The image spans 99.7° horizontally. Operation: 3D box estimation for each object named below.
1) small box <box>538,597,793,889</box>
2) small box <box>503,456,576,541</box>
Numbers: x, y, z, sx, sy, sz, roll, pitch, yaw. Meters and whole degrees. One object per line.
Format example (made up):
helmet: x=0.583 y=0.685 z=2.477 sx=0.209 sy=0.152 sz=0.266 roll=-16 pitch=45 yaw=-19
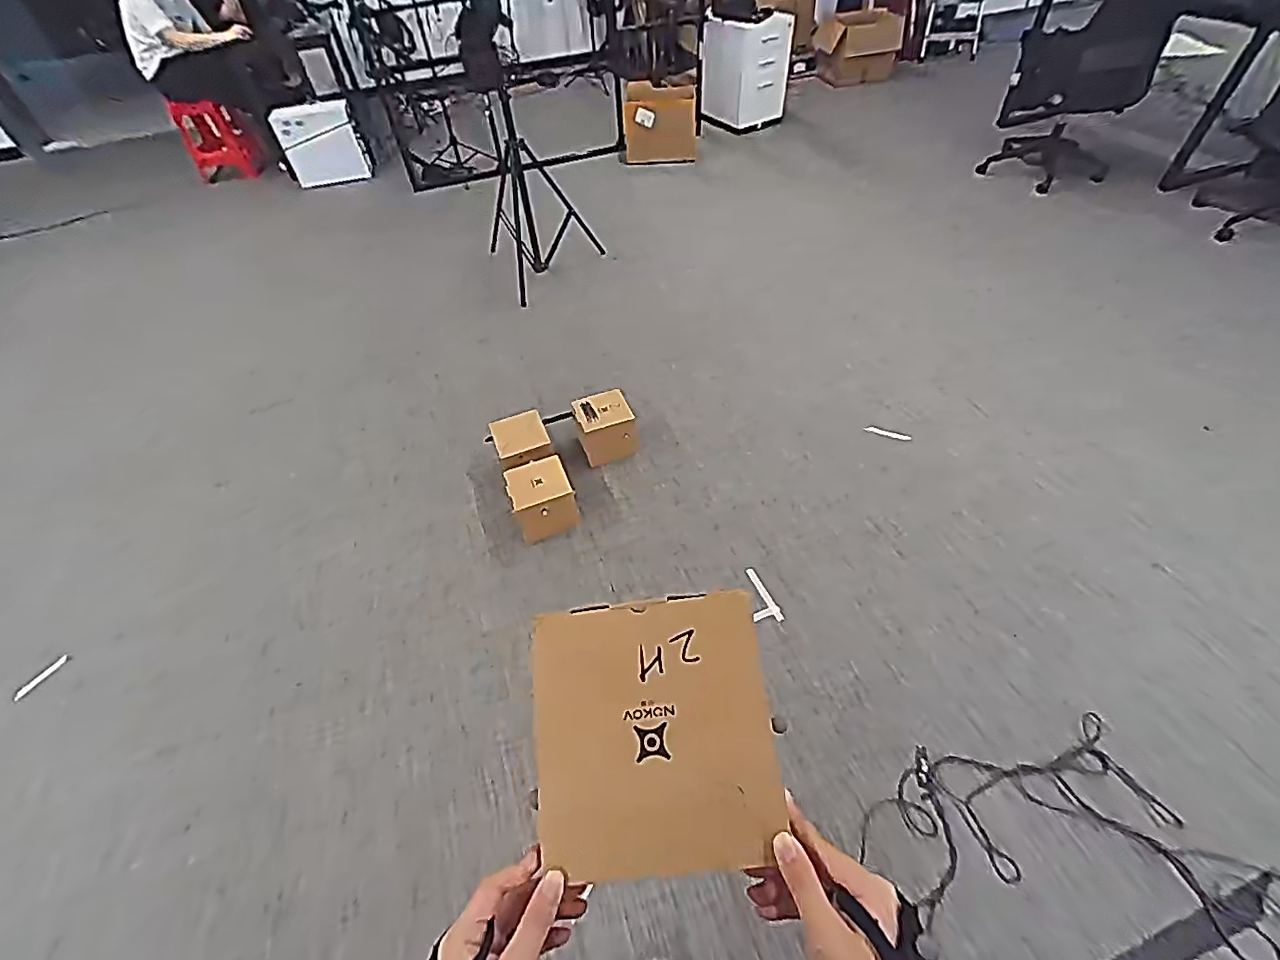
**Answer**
small box: x=0.019 y=0.203 z=0.452 sx=0.168 sy=0.176 sz=0.179 roll=-8 pitch=70 yaw=3
small box: x=-0.303 y=0.060 z=1.669 sx=0.179 sy=0.176 sz=0.168 roll=-19 pitch=51 yaw=-11
